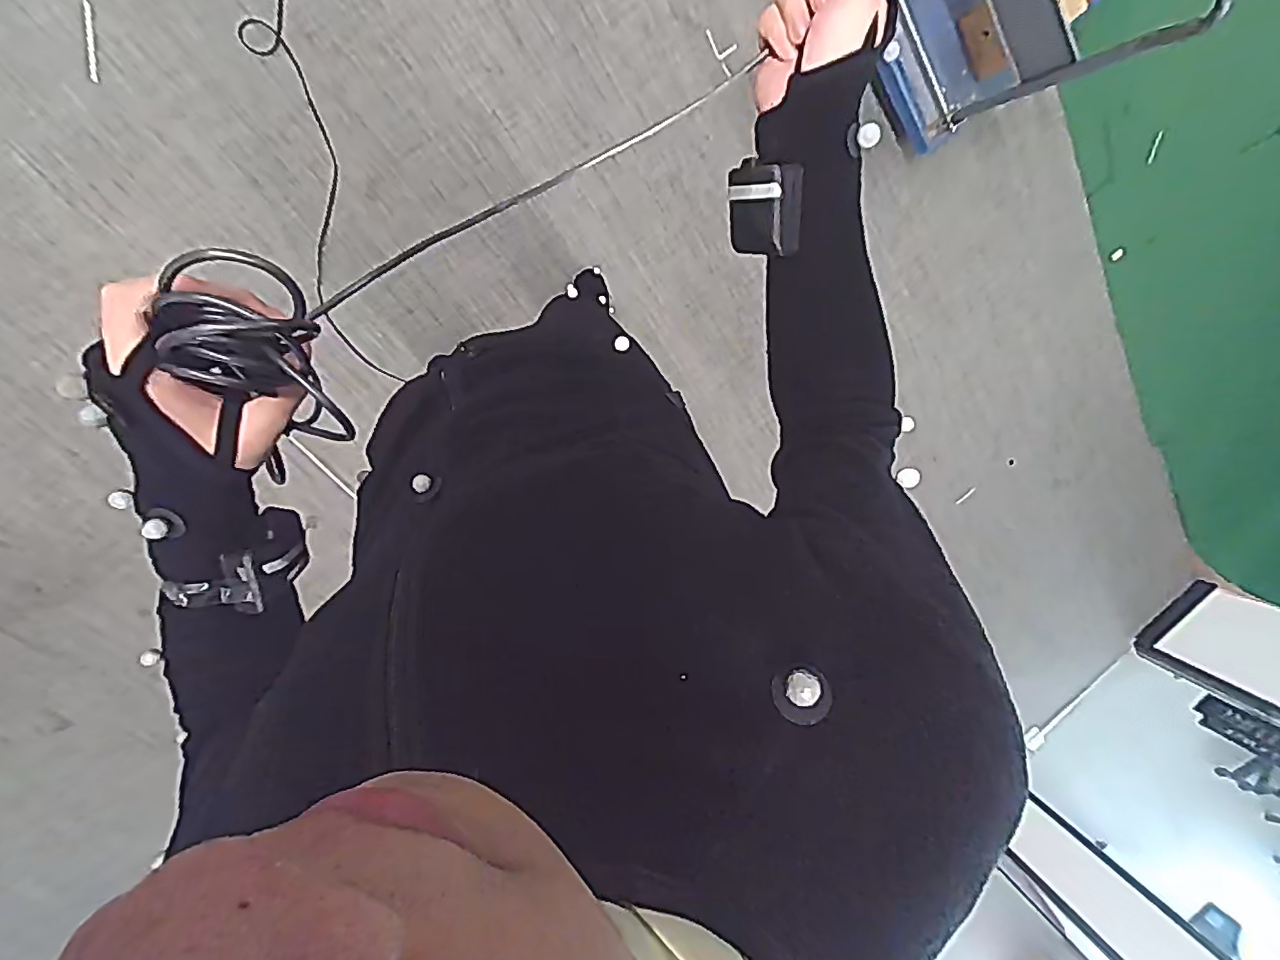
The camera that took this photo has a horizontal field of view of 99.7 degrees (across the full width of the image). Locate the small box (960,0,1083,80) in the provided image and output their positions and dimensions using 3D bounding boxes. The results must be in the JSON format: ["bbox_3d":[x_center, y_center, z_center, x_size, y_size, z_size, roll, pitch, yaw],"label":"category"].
[{"bbox_3d":[0.973,-1.186,1.389,0.179,0.176,0.168,-40,113,-1],"label":"small box"}]
